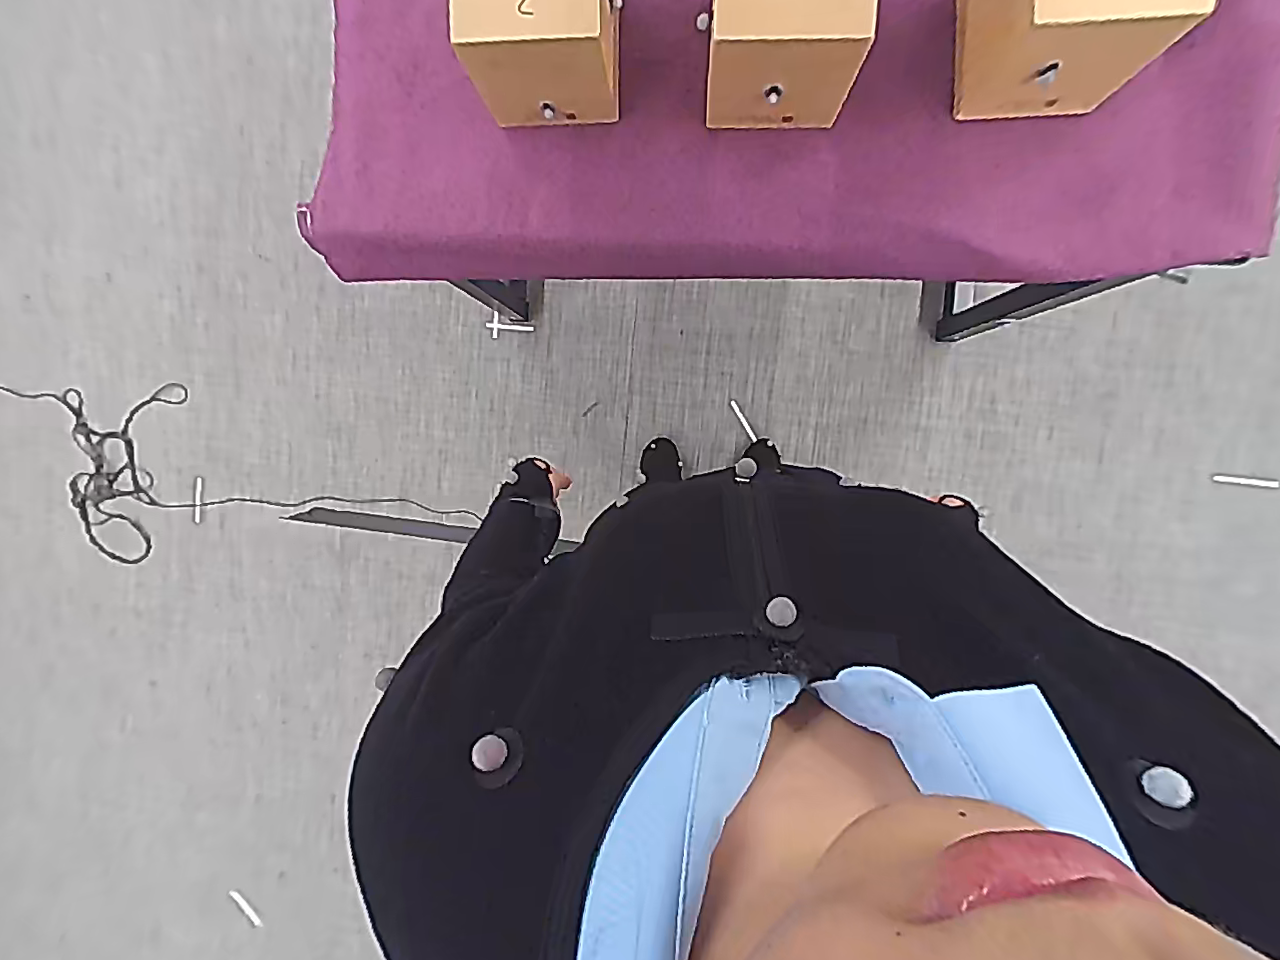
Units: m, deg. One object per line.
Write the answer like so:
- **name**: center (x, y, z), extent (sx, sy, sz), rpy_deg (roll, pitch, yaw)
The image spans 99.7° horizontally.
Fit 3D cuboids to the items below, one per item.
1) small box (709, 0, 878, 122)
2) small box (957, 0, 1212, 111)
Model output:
- **small box**: center (0.170, -0.549, 0.629), extent (0.168, 0.176, 0.179), rpy_deg (3, 95, 4)
- **small box**: center (0.479, -0.544, 0.604), extent (0.168, 0.176, 0.179), rpy_deg (0, 93, 6)
